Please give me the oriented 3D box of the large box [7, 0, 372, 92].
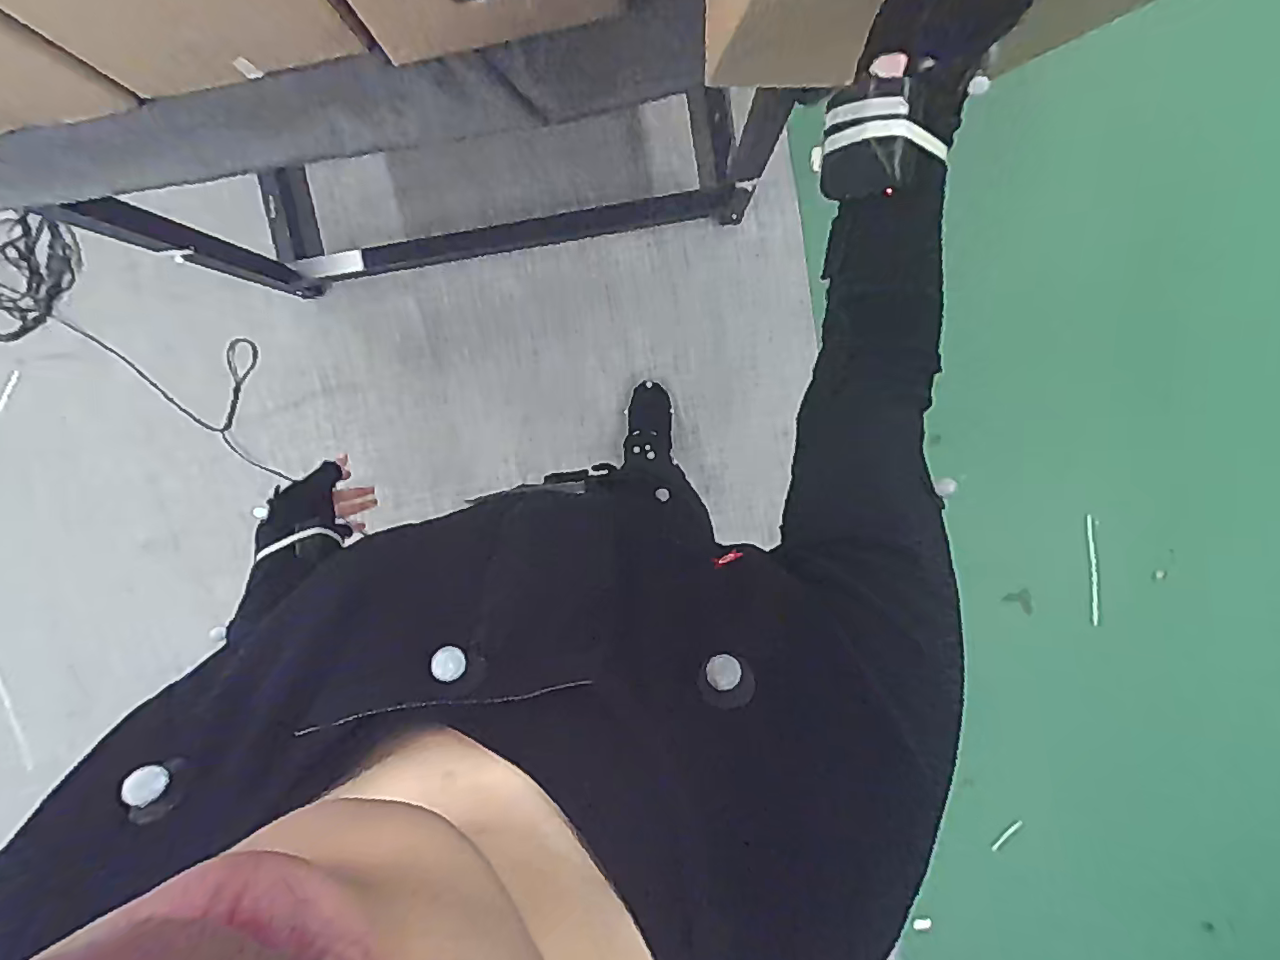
[{"bbox_3d":[-0.522,-0.698,0.521,0.320,0.320,0.408,-10,98,3],"label":"large box"}]
